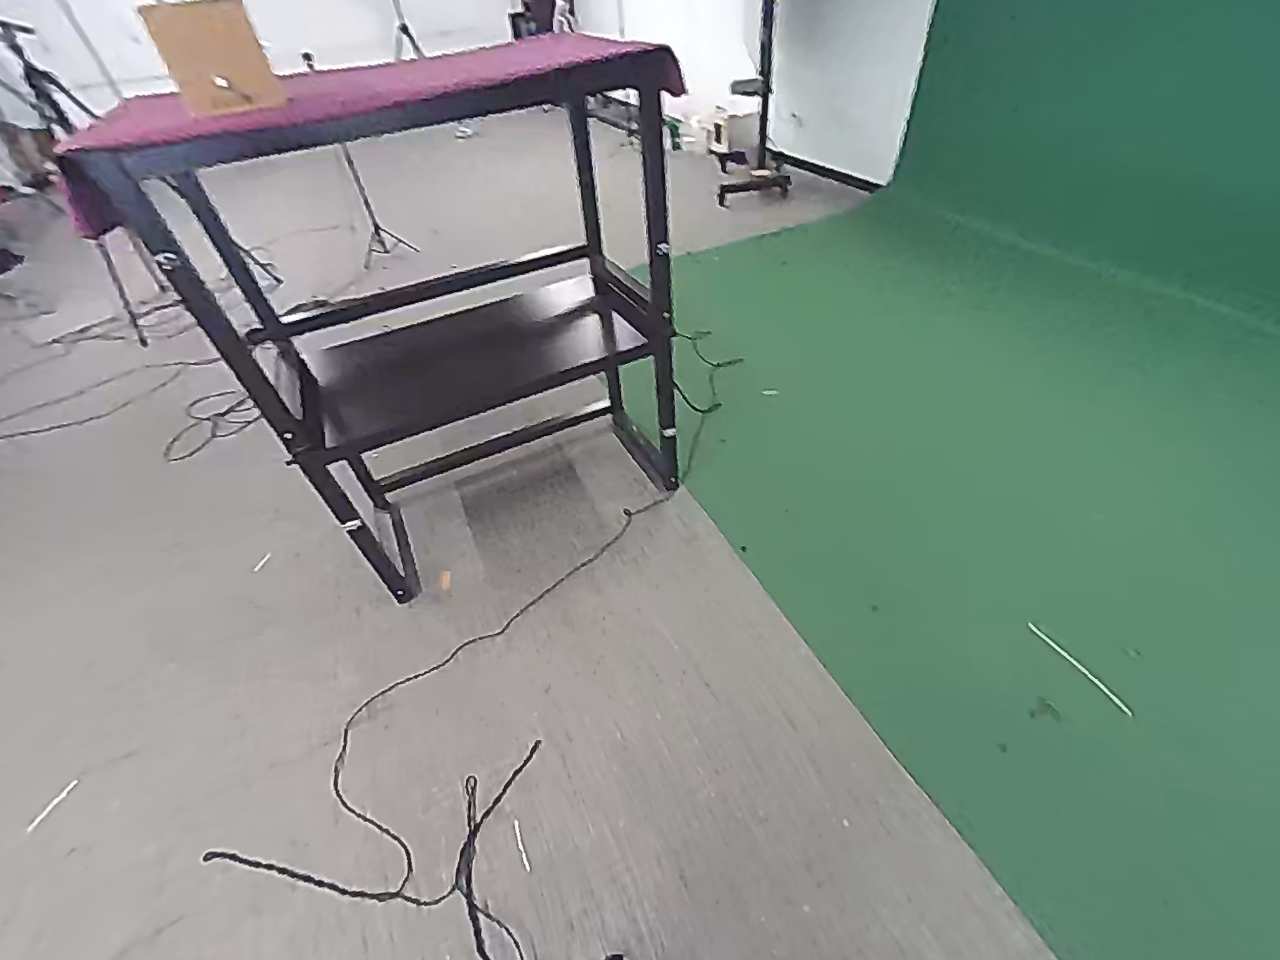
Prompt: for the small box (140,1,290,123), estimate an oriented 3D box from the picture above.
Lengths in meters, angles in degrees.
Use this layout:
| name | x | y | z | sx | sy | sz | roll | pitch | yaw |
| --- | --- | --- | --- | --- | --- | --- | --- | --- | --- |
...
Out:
| name | x | y | z | sx | sy | sz | roll | pitch | yaw |
| --- | --- | --- | --- | --- | --- | --- | --- | --- | --- |
| small box | -0.813 | -0.815 | 1.056 | 0.168 | 0.176 | 0.179 | -23 | 46 | -16 |
